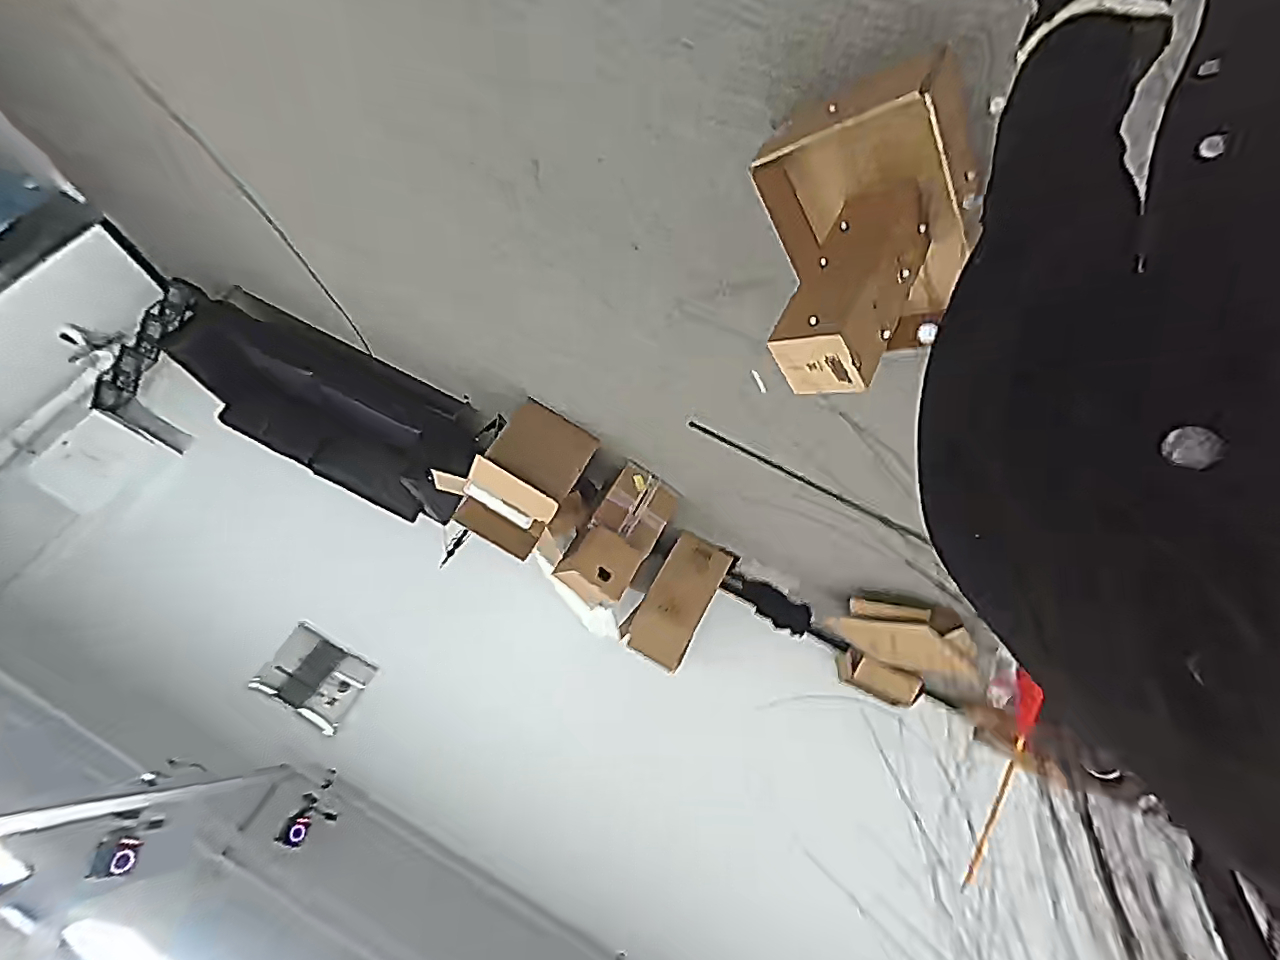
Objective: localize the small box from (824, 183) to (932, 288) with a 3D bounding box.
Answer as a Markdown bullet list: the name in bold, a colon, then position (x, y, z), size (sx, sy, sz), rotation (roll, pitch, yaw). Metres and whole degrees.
- **small box**: position (0.576, -0.574, 1.299), size (0.179, 0.176, 0.168), rotation (8, 149, 44)

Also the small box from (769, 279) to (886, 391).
- **small box**: position (0.417, -0.314, 1.180), size (0.179, 0.176, 0.168), rotation (8, 149, 47)

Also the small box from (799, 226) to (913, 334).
- **small box**: position (0.497, -0.446, 1.238), size (0.179, 0.176, 0.168), rotation (6, 148, 45)
